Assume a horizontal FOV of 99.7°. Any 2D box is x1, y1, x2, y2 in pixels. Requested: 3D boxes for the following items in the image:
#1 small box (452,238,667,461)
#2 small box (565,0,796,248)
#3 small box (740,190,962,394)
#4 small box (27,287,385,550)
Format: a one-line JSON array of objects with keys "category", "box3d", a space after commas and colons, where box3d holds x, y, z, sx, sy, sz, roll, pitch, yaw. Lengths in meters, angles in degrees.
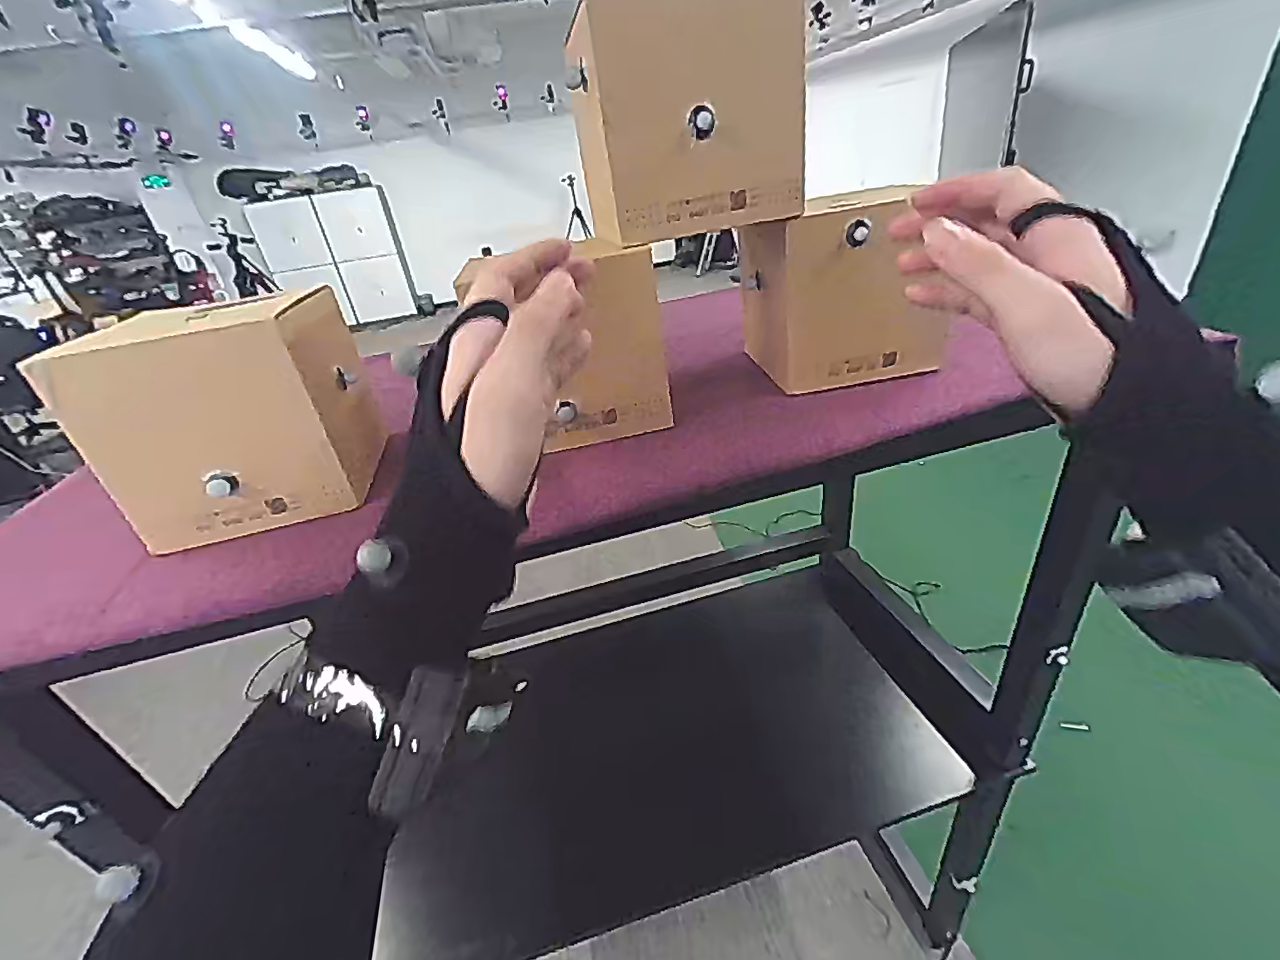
[{"category": "small box", "box3d": [-0.076, -0.139, 0.550, 0.168, 0.176, 0.179, -13, 30, -6]}, {"category": "small box", "box3d": [0.034, -0.315, 0.491, 0.168, 0.176, 0.179, -12, 29, -6]}, {"category": "small box", "box3d": [0.208, -0.205, 0.585, 0.168, 0.176, 0.179, -11, 29, 0]}, {"category": "small box", "box3d": [-0.351, -0.064, 0.490, 0.168, 0.176, 0.179, -14, 31, -9]}]
